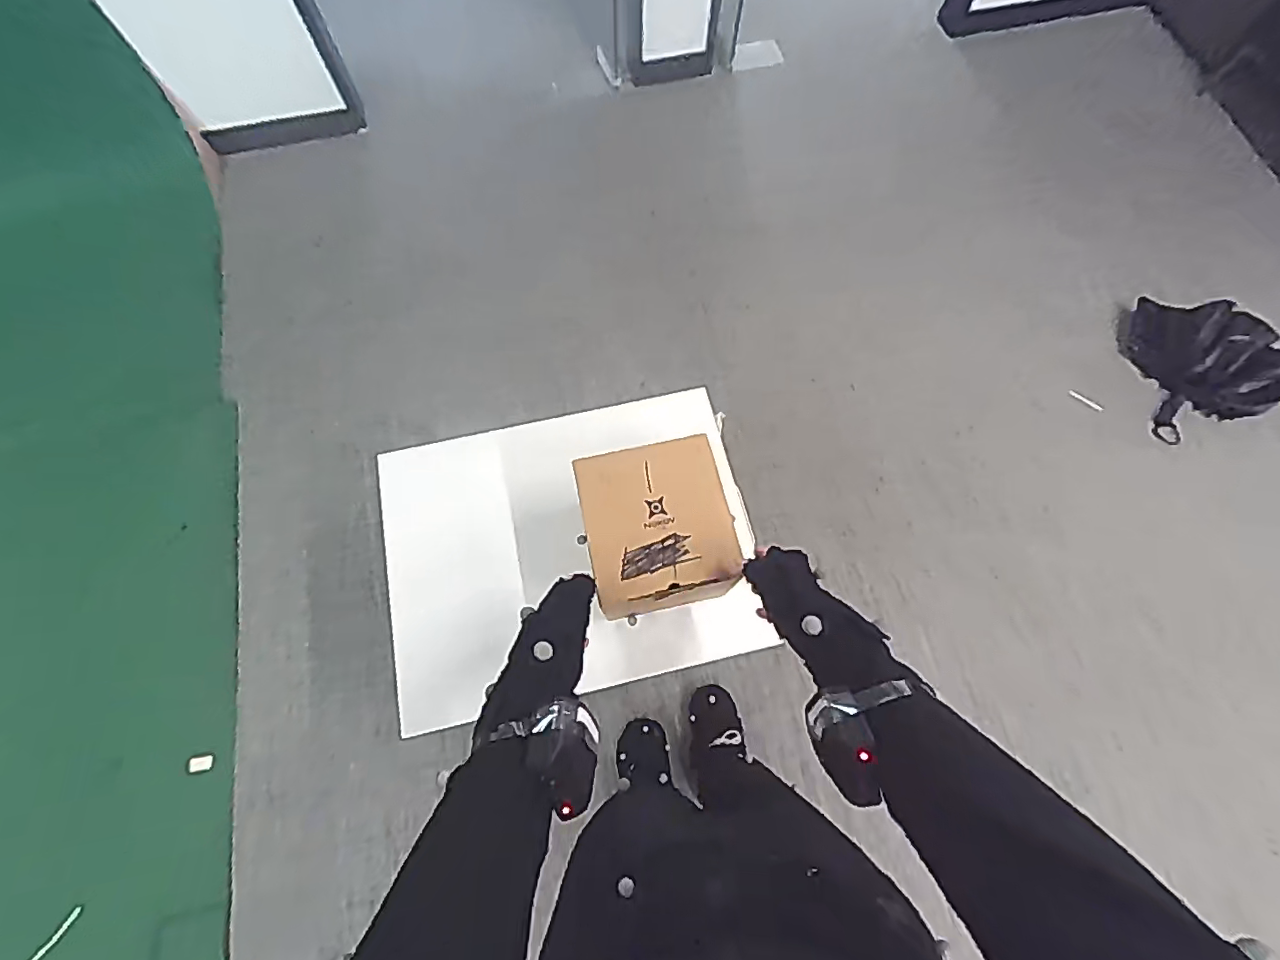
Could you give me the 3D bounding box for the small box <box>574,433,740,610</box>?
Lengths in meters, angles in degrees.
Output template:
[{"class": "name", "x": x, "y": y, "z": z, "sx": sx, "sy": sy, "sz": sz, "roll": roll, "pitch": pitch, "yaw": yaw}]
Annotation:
[{"class": "small box", "x": 0.018, "y": 0.064, "z": 0.695, "sx": 0.168, "sy": 0.176, "sz": 0.179, "roll": -11, "pitch": 70, "yaw": -4}]
